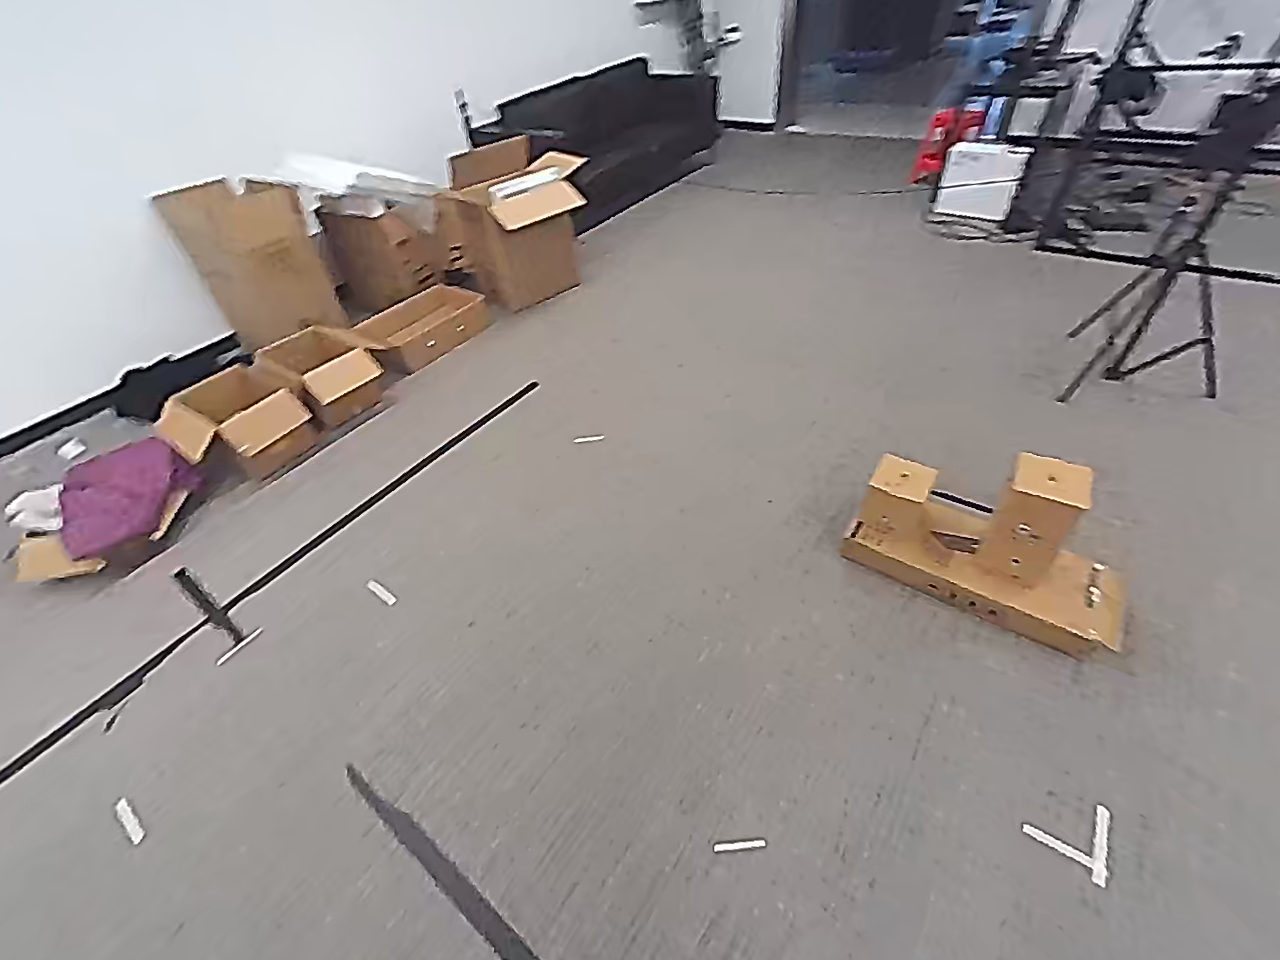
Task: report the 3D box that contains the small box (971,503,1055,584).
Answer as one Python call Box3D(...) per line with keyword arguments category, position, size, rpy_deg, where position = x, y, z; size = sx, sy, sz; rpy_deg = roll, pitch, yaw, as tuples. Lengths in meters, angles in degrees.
Box3D(category="small box", position=(1.102, 0.174, 1.594), size=(0.168, 0.176, 0.179), rpy_deg=(22, 51, 26))

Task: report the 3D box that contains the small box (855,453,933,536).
Box3D(category="small box", position=(0.816, 0.047, 1.749), size=(0.168, 0.176, 0.179), rpy_deg=(23, 51, 27))

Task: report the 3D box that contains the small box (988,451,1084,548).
Box3D(category="small box", position=(1.082, 0.052, 1.485), size=(0.168, 0.176, 0.179), rpy_deg=(19, 49, 24))
